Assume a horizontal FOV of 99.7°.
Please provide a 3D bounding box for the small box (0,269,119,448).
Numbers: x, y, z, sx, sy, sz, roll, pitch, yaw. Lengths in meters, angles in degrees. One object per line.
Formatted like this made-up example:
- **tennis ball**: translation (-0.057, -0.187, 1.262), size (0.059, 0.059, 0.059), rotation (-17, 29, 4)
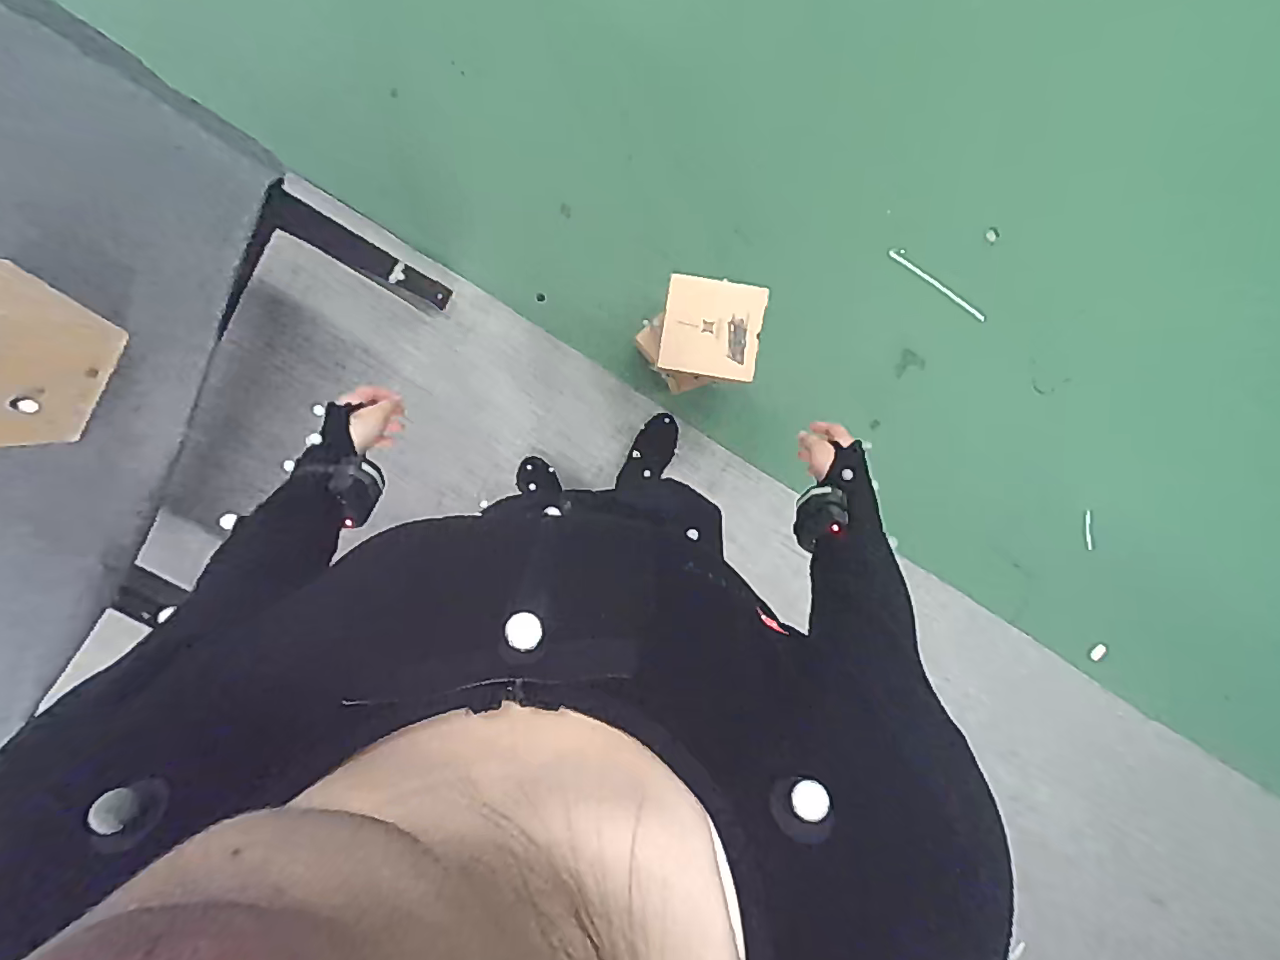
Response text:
- **small box**: translation (-0.768, -0.146, 0.613), size (0.179, 0.176, 0.168), rotation (31, 97, -4)

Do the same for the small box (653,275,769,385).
- **small box**: translation (0.125, -0.276, 1.023), size (0.179, 0.176, 0.168), rotation (9, 100, -2)

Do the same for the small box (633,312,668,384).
- **small box**: translation (0.101, -0.341, 1.343), size (0.179, 0.176, 0.168), rotation (-42, 98, 4)

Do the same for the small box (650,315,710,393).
- **small box**: translation (0.128, -0.296, 1.187), size (0.179, 0.176, 0.168), rotation (-21, 100, 1)
